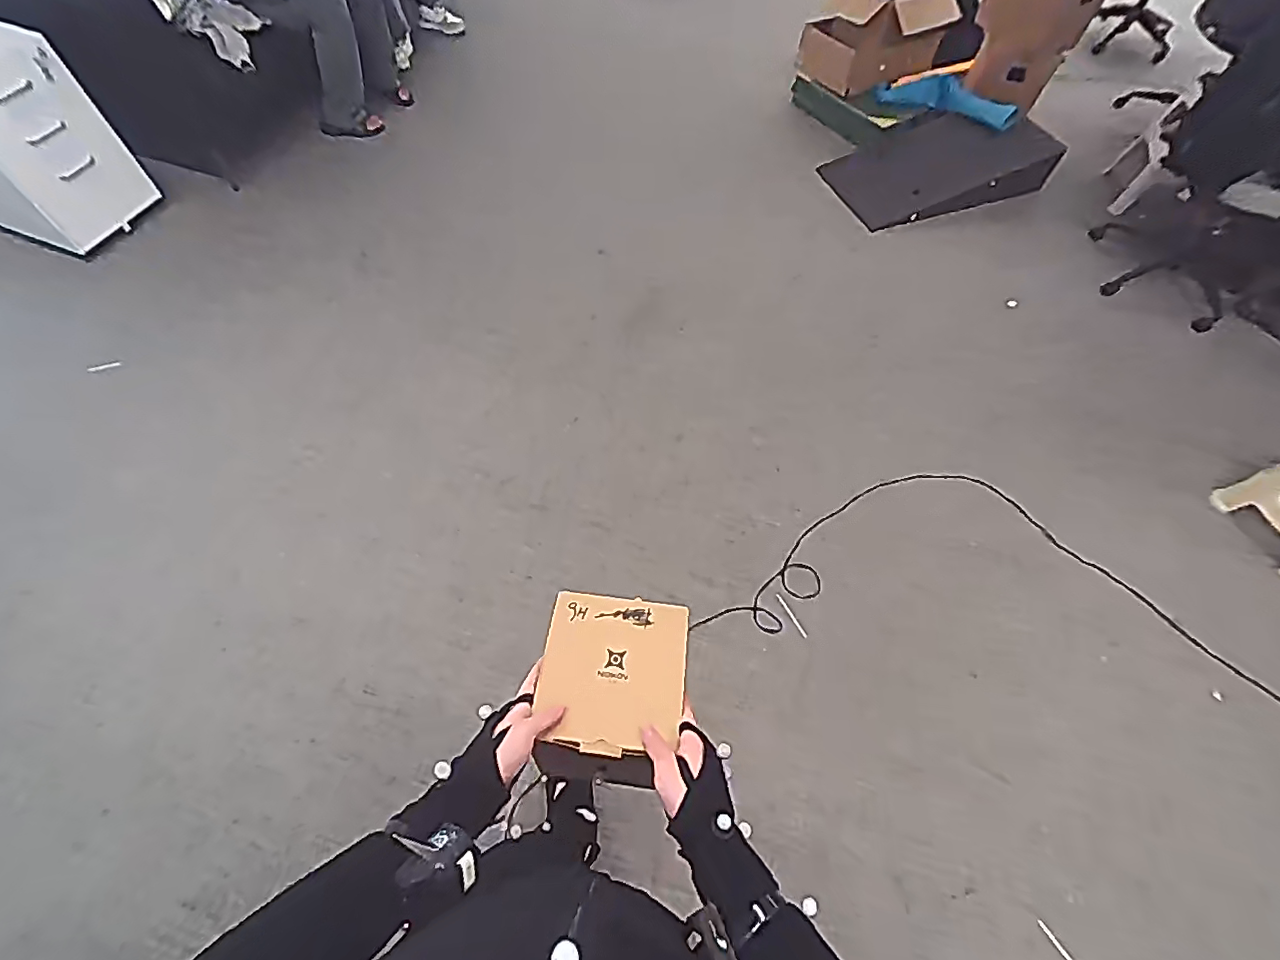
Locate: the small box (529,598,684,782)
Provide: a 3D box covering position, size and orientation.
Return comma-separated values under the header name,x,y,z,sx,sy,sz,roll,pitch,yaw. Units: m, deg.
name,x,y,z,sx,sy,sz,roll,pitch,yaw
small box,-0.035,0.273,0.692,0.168,0.176,0.179,5,51,1
